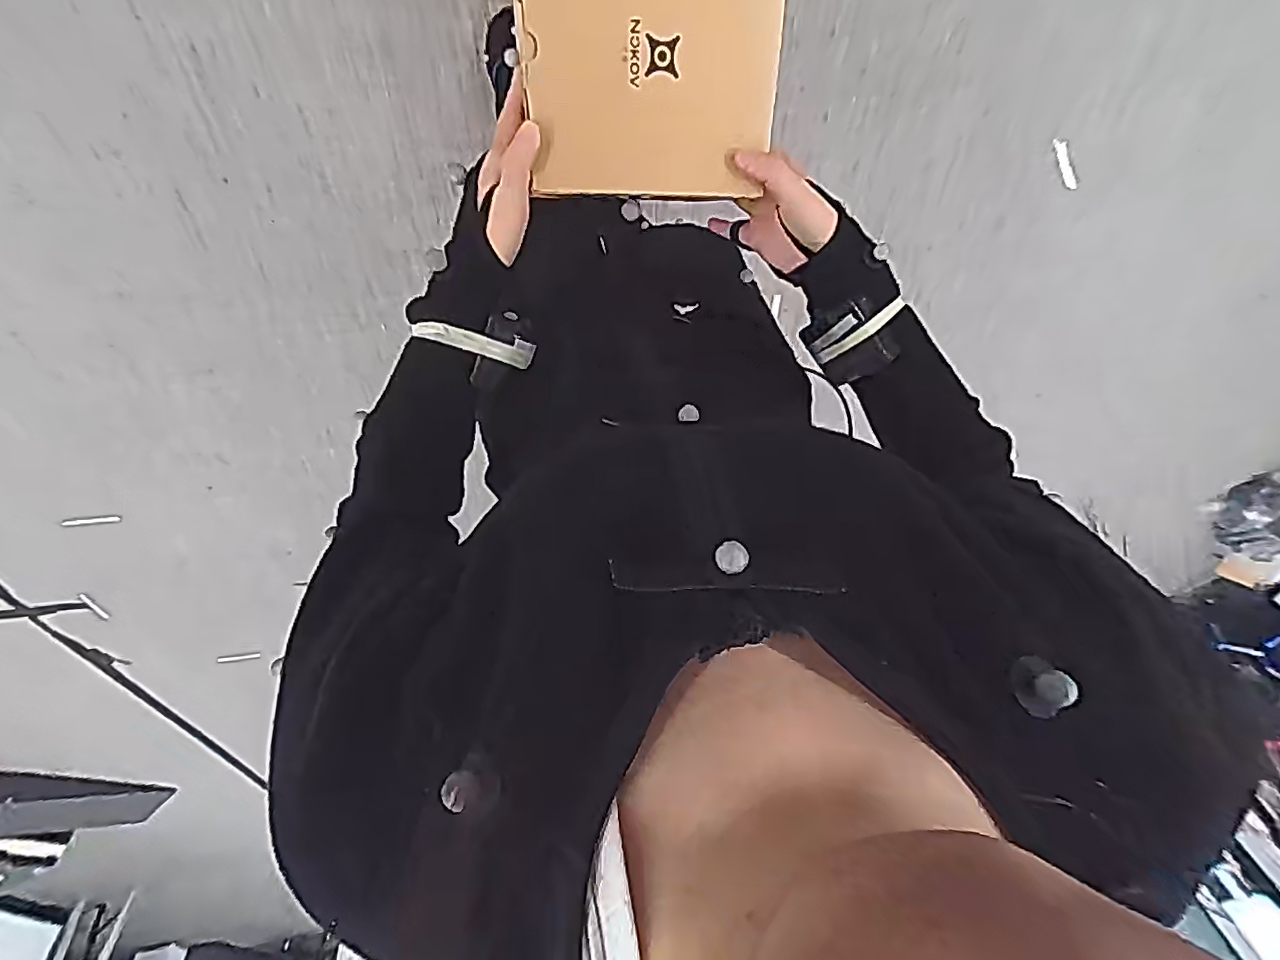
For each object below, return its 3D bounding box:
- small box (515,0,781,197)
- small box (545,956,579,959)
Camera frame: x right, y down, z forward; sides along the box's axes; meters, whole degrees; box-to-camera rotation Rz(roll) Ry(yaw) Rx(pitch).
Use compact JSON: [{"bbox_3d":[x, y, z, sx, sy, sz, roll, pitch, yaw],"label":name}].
[{"bbox_3d":[-0.006,-0.320,0.428,0.179,0.176,0.168,-4,117,-9],"label":"small box"},{"bbox_3d":[-0.284,1.727,1.817,0.168,0.176,0.179,-7,134,-6],"label":"small box"}]
